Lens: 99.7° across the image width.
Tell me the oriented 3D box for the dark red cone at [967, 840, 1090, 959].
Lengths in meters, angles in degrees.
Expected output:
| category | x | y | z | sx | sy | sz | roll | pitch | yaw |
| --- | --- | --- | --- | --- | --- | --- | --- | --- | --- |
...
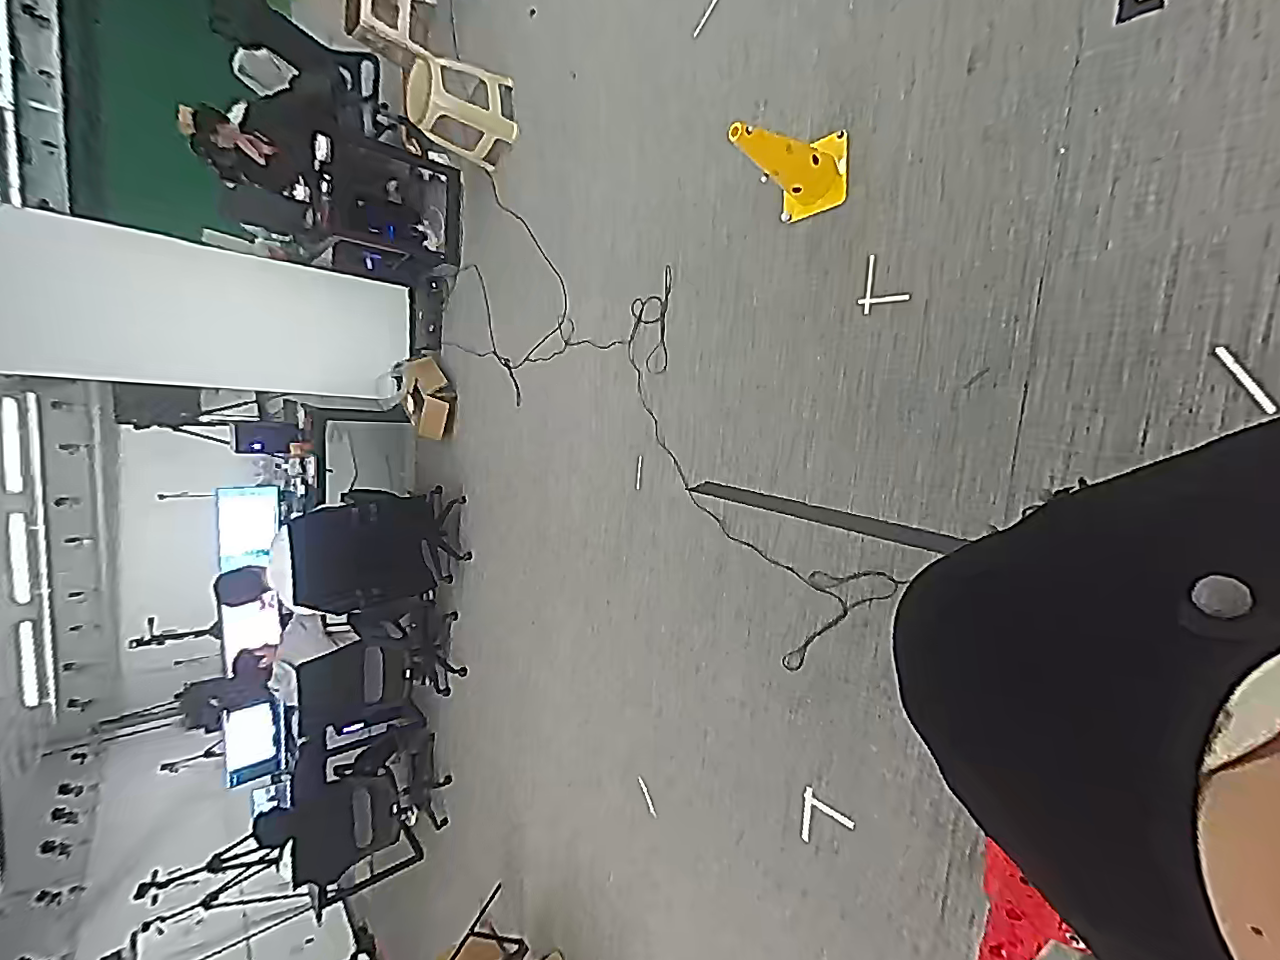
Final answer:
| category | x | y | z | sx | sy | sz | roll | pitch | yaw |
| --- | --- | --- | --- | --- | --- | --- | --- | --- | --- |
| dark red cone | 0.716 | 0.915 | 1.059 | 0.202 | 0.394 | 0.201 | 2 | 92 | 49 |
